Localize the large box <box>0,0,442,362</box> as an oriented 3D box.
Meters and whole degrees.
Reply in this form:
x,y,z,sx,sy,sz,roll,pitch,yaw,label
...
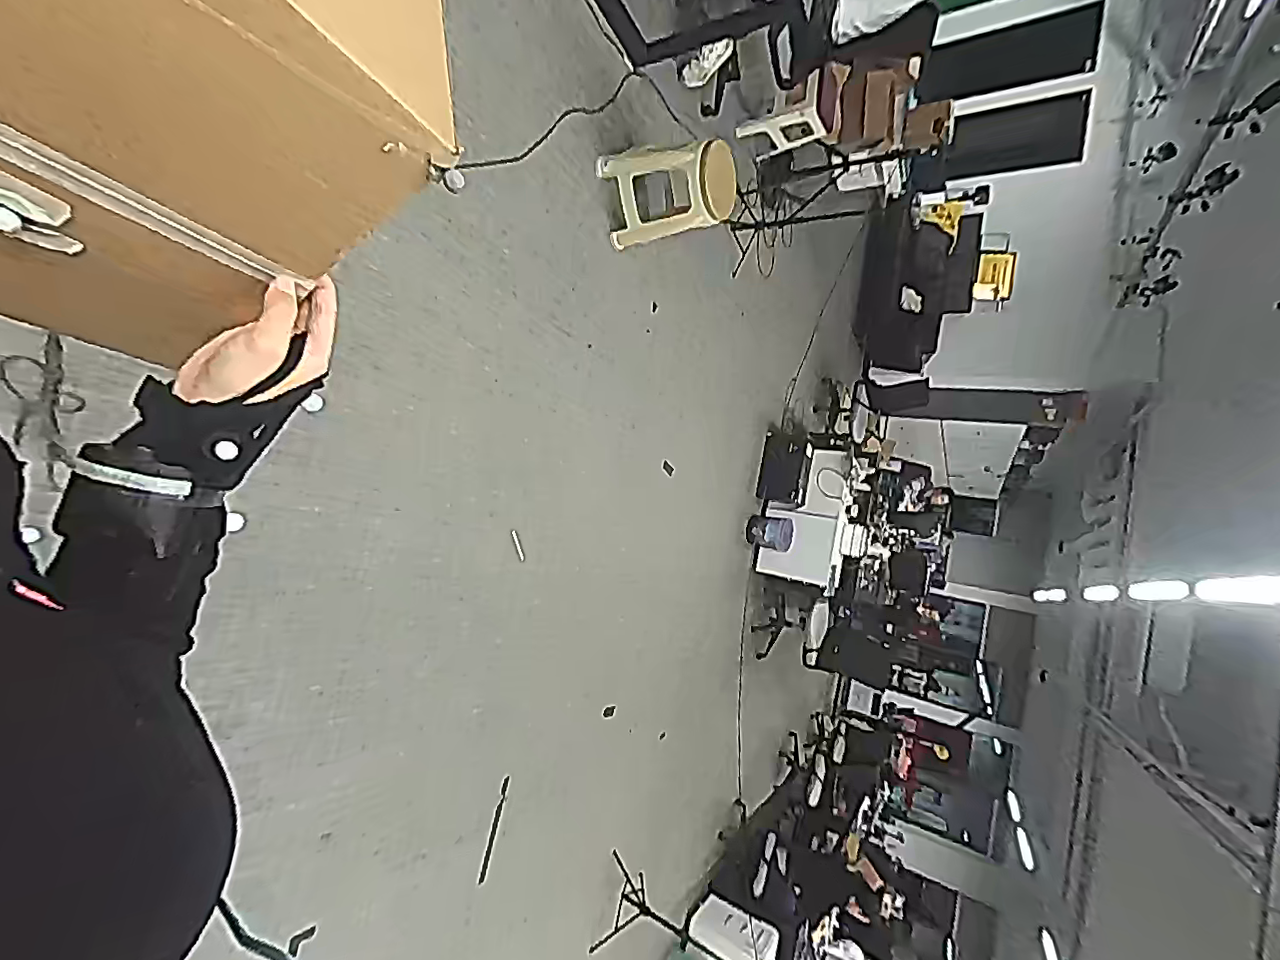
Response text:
x,y,z,sx,sy,sz,roll,pitch,yaw,label
-0.376,-0.327,0.278,0.408,0.320,0.320,22,52,-56,large box
